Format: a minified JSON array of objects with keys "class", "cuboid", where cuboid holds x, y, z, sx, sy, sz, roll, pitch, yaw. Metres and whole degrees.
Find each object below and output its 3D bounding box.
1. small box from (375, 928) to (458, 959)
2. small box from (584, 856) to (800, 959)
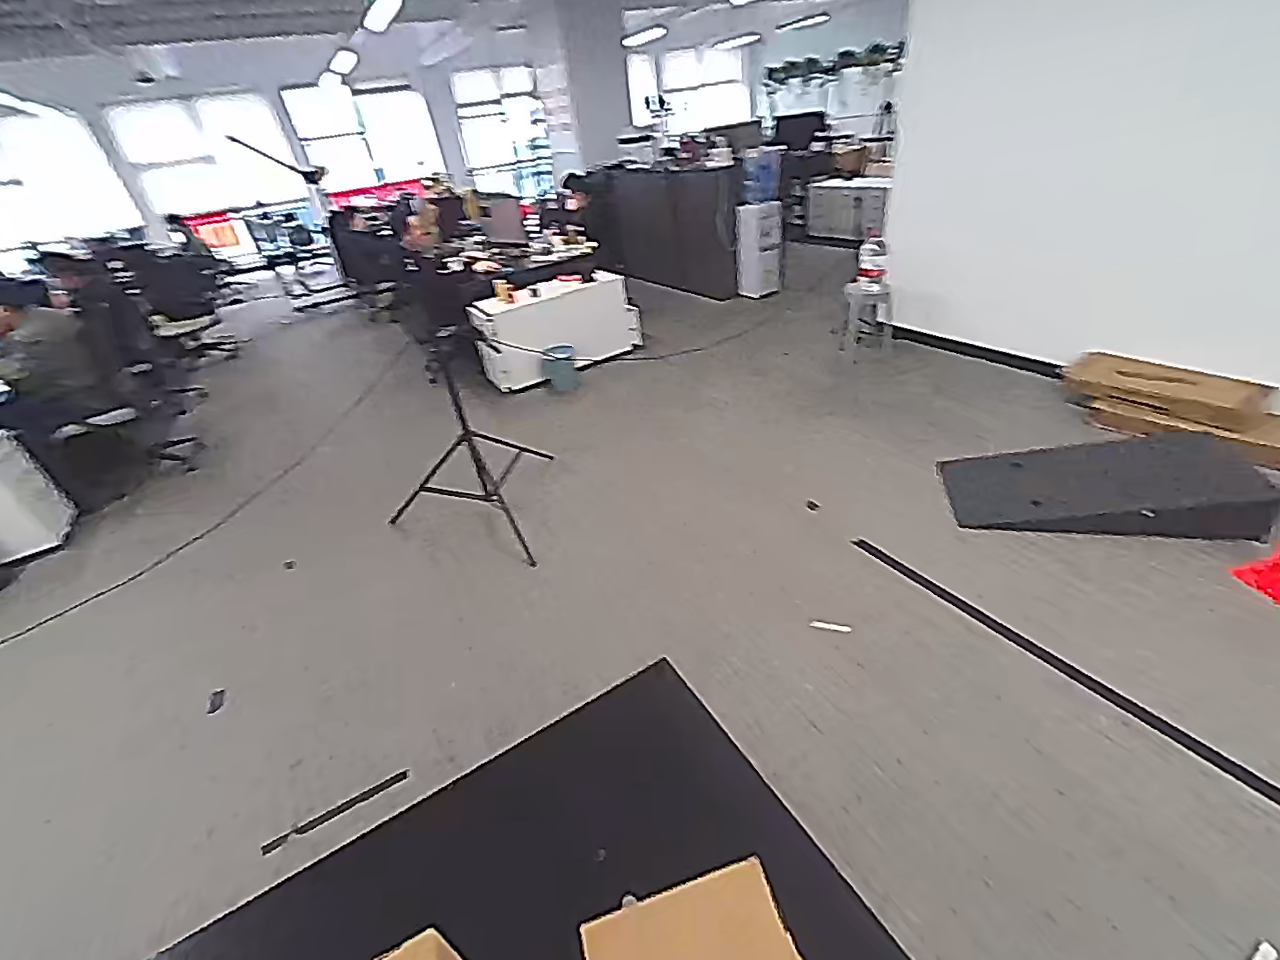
[{"class":"small box","cuboid":[-0.234,0.585,0.501,0.168,0.176,0.179,-21,36,-19]},{"class":"small box","cuboid":[0.060,0.485,0.489,0.179,0.176,0.168,-14,41,-8]}]
